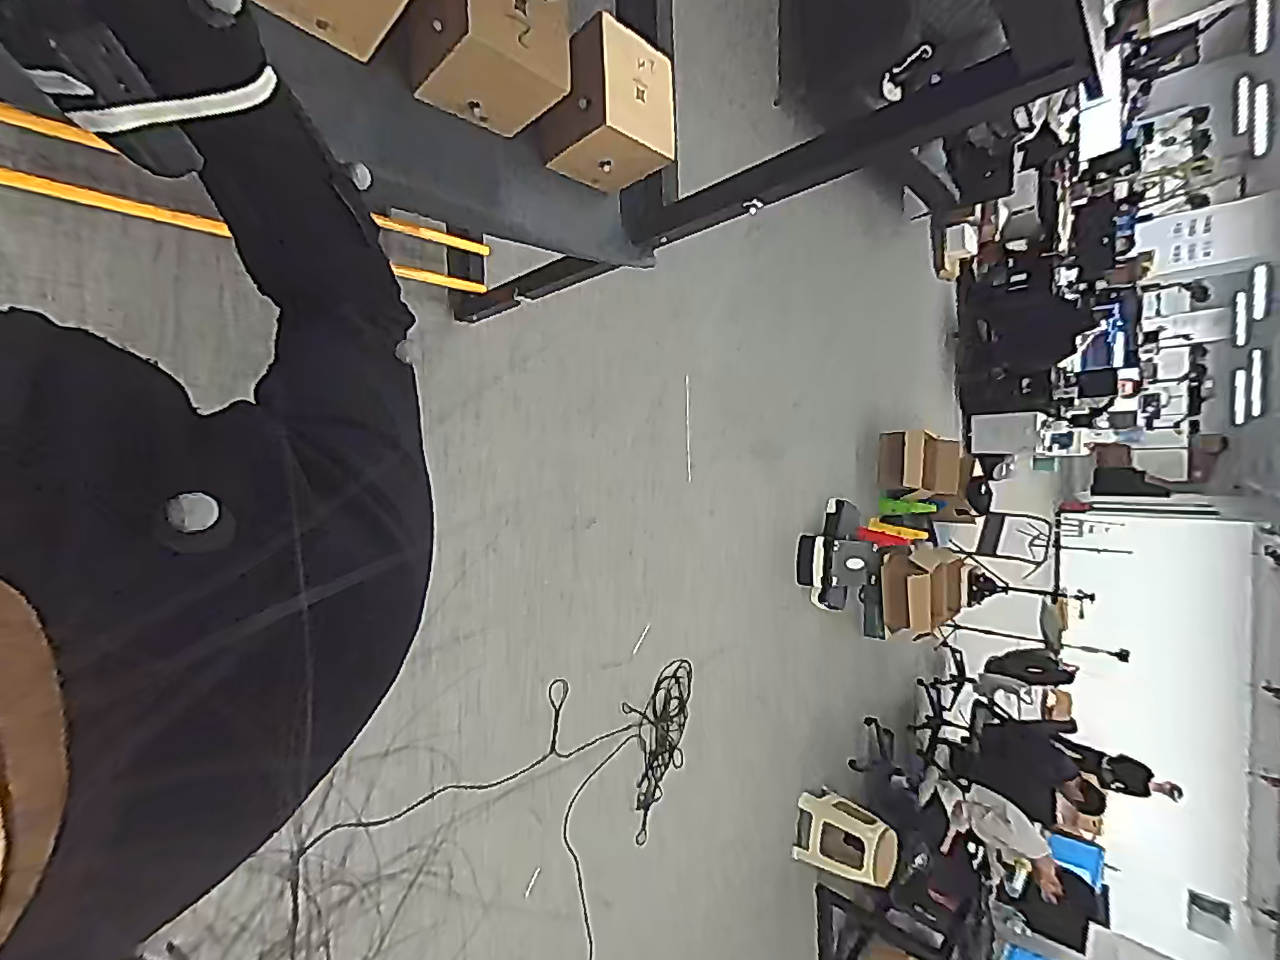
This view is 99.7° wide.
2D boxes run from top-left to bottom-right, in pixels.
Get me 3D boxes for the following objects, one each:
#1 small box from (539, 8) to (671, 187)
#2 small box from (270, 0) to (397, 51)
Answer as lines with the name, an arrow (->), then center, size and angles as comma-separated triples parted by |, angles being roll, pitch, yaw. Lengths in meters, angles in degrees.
small box -> -0.062, -0.651, 0.952 | 0.168, 0.176, 0.179 | -6, 95, -46
small box -> -0.375, -0.665, 0.631 | 0.168, 0.176, 0.179 | 2, 89, -46
